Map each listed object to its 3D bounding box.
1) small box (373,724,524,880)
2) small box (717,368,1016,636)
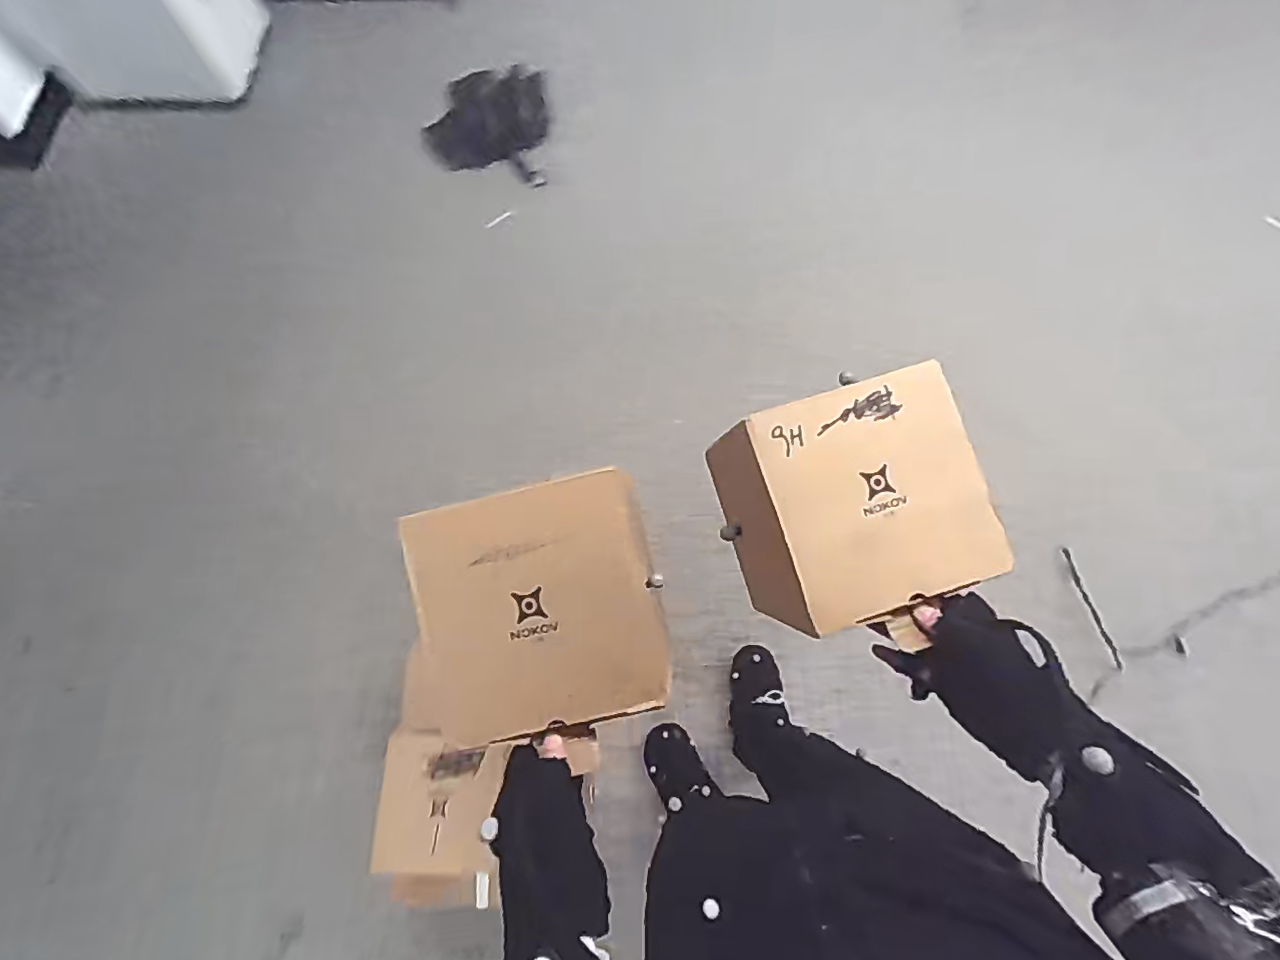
[{"bbox_3d":[-0.276,0.477,0.827,0.168,0.176,0.179,5,70,-3],"label":"small box"},{"bbox_3d":[0.185,0.021,0.495,0.168,0.176,0.179,-16,86,-7],"label":"small box"}]
